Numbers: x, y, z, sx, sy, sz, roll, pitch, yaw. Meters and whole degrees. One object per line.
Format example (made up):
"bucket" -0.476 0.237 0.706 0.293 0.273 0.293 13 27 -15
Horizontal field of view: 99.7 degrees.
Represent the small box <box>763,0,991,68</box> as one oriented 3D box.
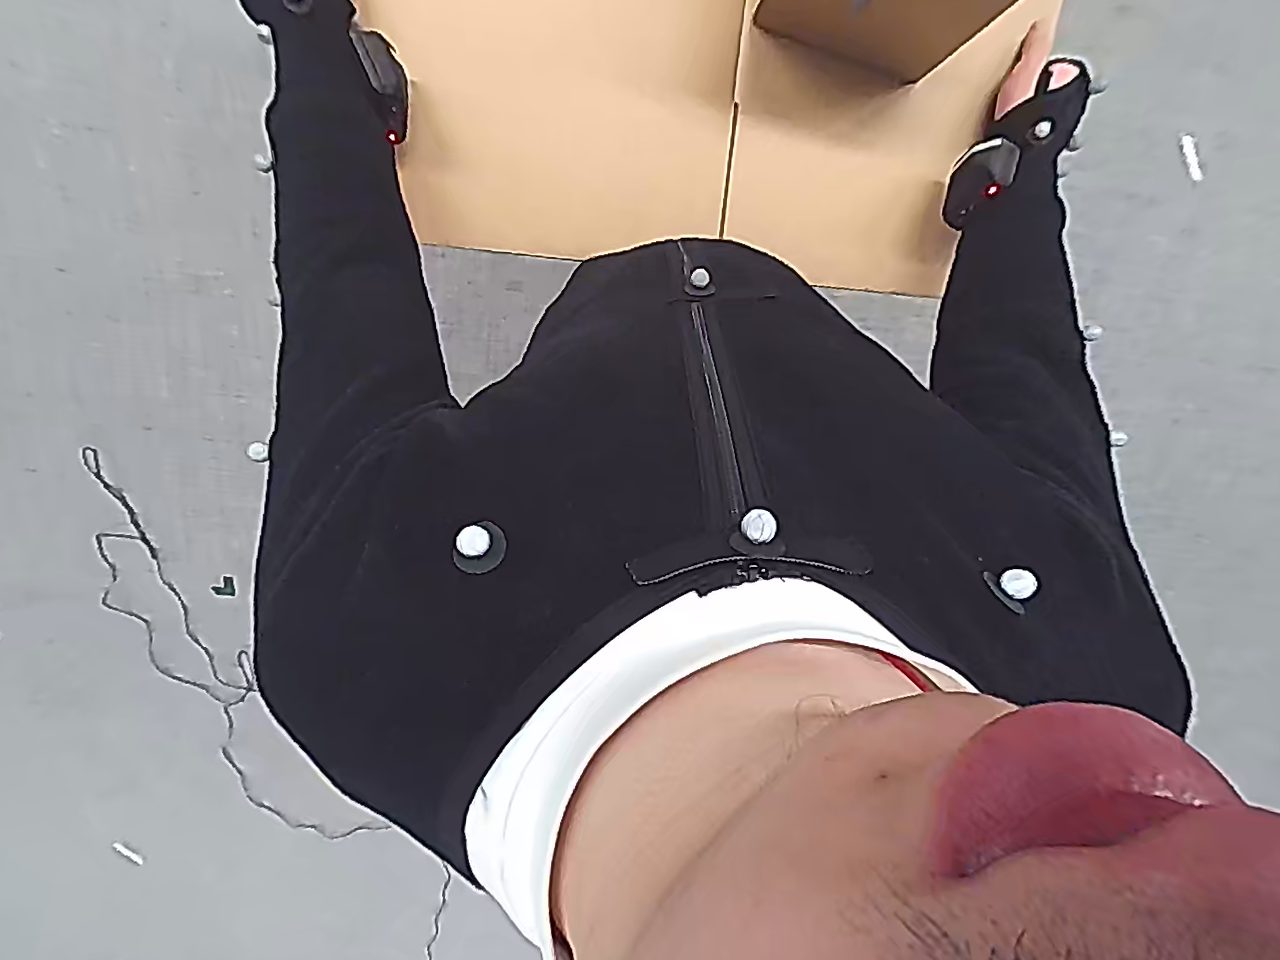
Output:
"small box" 0.214 -0.466 0.421 0.179 0.176 0.168 15 106 -5
